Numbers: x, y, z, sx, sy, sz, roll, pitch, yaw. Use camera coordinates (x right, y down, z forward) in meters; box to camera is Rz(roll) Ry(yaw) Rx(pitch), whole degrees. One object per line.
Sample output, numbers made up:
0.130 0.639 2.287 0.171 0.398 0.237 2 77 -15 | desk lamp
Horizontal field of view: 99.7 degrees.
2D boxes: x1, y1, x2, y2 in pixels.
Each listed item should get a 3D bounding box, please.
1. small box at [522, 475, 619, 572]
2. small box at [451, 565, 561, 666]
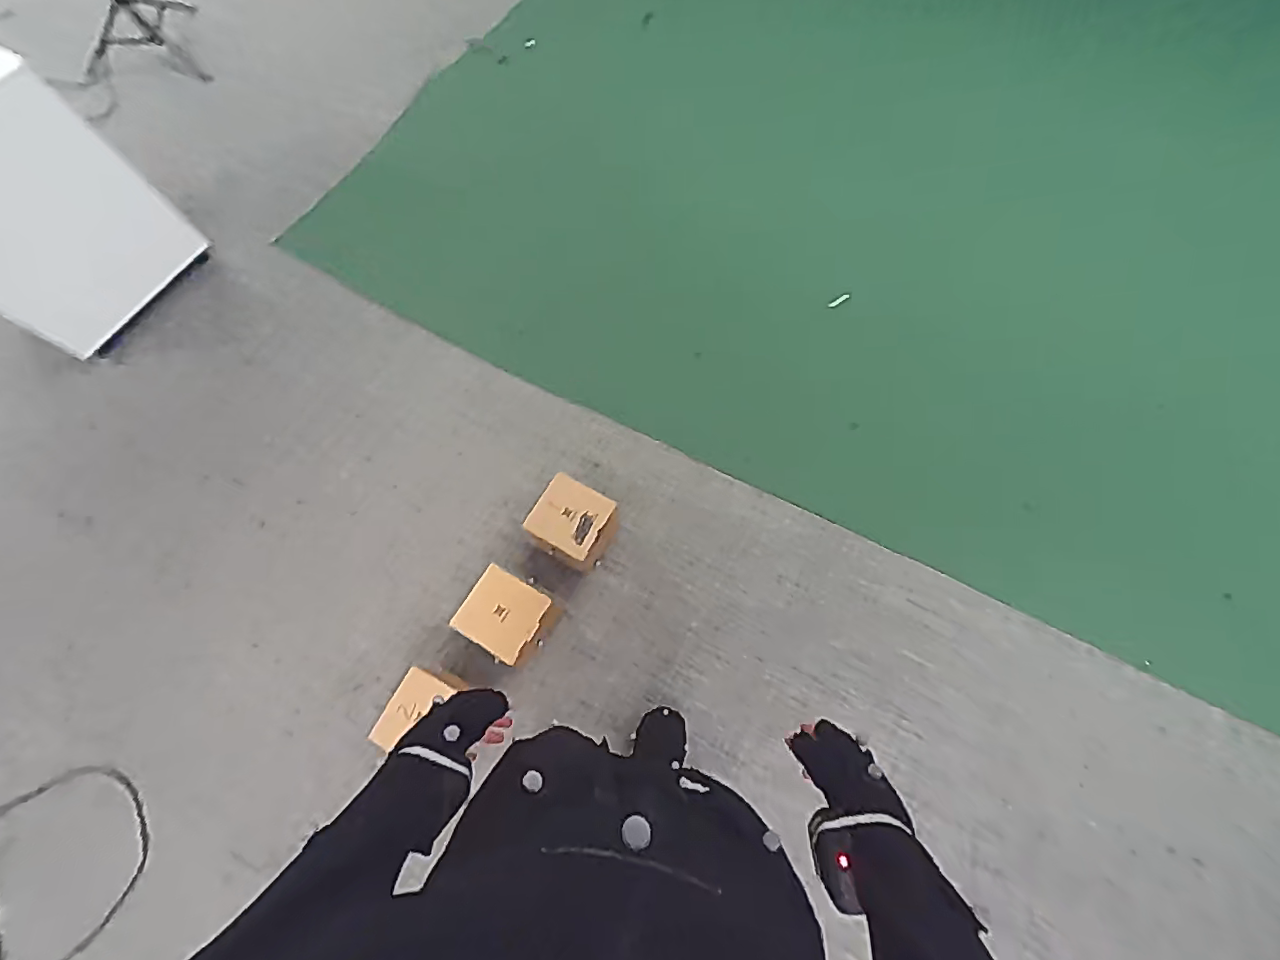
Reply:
-0.166 0.118 1.371 0.179 0.176 0.168 28 72 11 | small box
-0.311 0.331 1.292 0.179 0.176 0.168 28 72 11 | small box
